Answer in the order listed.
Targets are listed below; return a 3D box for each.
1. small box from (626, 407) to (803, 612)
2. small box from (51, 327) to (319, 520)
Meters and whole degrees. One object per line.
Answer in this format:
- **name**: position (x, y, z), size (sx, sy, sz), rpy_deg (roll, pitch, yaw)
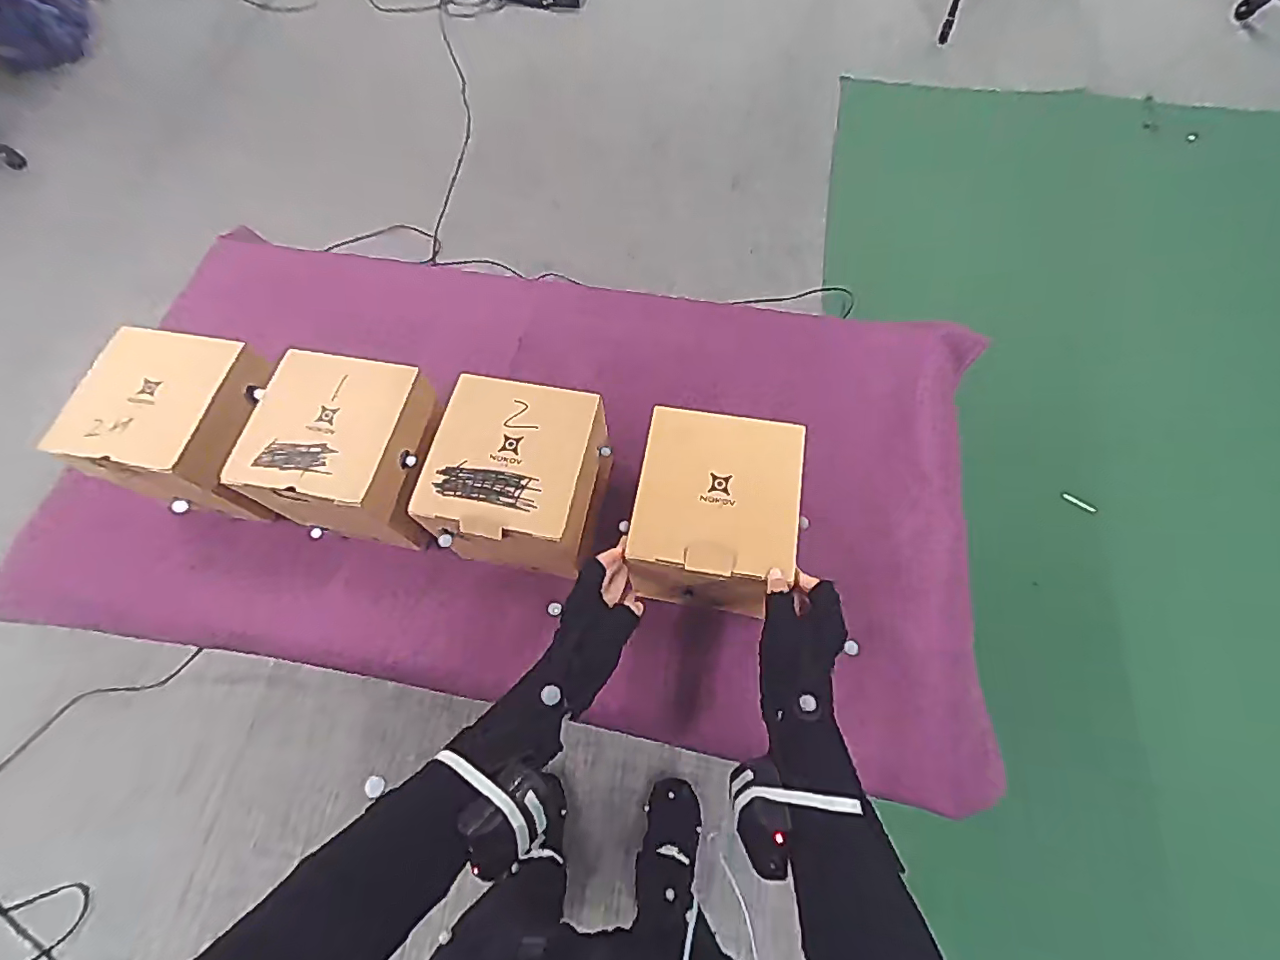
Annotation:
- **small box**: position (0.083, 0.041, 0.628), size (0.168, 0.176, 0.179), rpy_deg (9, 67, 7)
- **small box**: position (-0.557, -0.066, 0.697), size (0.168, 0.176, 0.179), rpy_deg (9, 68, 6)
